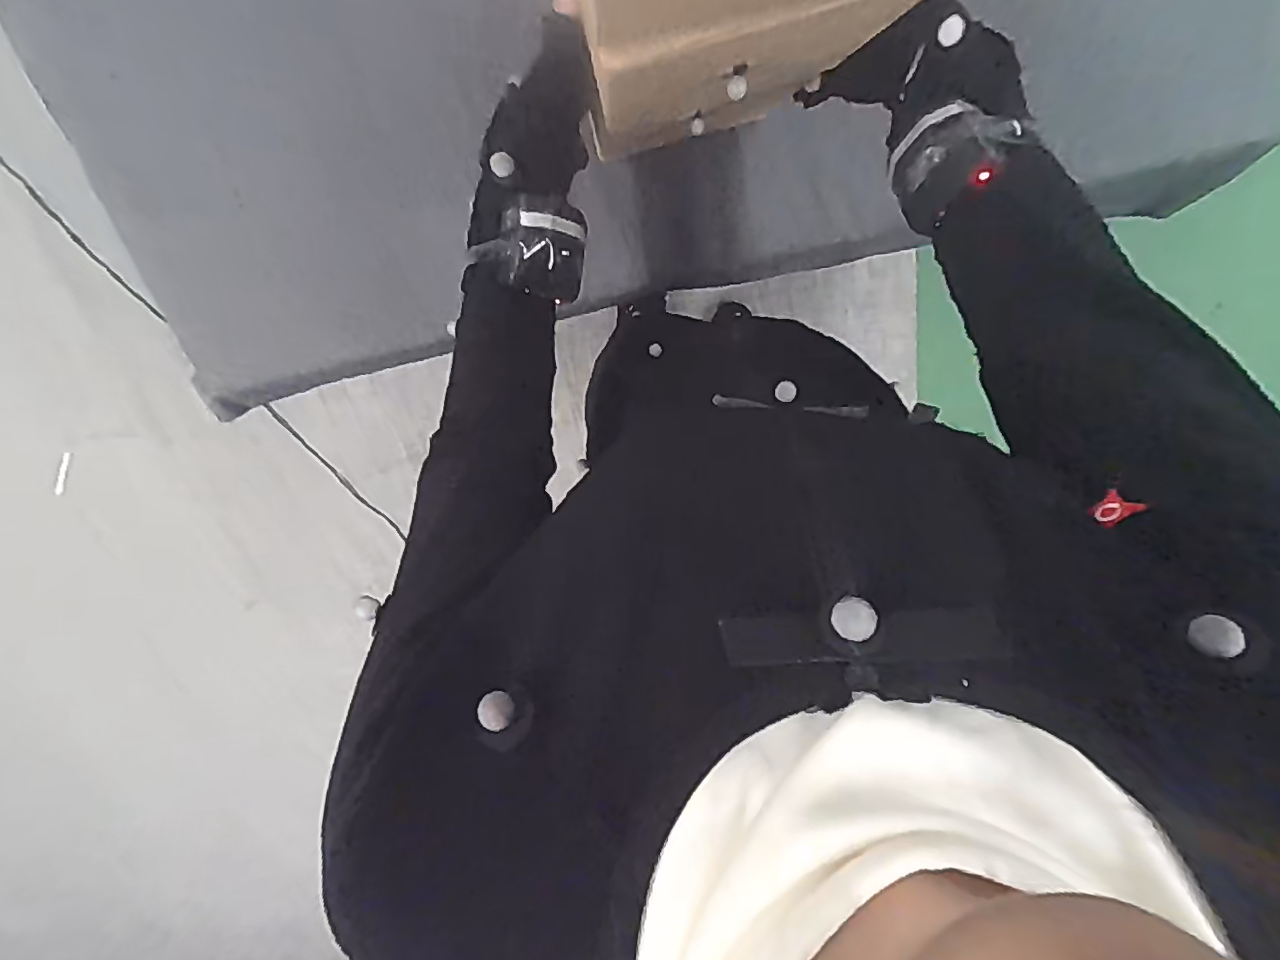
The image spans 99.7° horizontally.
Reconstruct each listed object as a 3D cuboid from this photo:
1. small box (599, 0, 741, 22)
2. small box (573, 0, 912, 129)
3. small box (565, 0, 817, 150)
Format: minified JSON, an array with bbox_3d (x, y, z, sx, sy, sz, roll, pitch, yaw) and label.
[{"bbox_3d":[0.045,-0.261,0.144,0.168,0.176,0.179,-10,115,3],"label":"small box"},{"bbox_3d":[0.043,-0.321,0.296,0.179,0.176,0.168,-17,115,4],"label":"small box"},{"bbox_3d":[0.029,-0.392,0.444,0.179,0.176,0.168,-14,114,2],"label":"small box"}]
